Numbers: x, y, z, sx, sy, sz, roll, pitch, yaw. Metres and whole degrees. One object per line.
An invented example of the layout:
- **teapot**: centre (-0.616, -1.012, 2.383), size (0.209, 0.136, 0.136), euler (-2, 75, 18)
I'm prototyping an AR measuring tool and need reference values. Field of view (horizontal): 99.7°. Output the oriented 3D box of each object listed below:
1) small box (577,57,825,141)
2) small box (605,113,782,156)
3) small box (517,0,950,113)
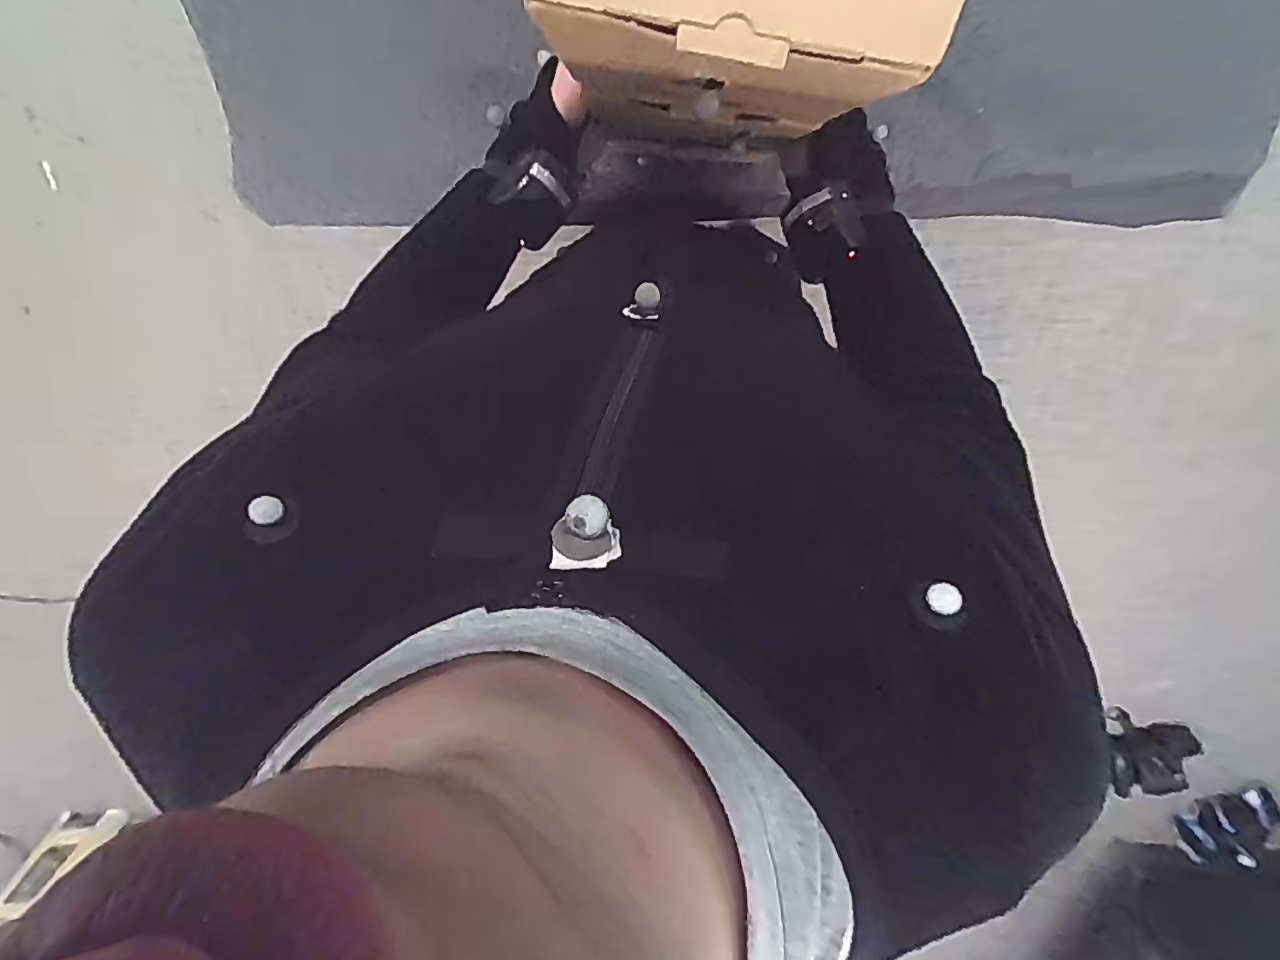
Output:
- **small box**: centre (0.052, -0.355, 0.384), size (0.168, 0.176, 0.179), euler (6, 117, -1)
- **small box**: centre (0.060, -0.426, 0.528), size (0.168, 0.176, 0.179), euler (5, 117, 0)
- **small box**: centre (0.048, -0.281, 0.237), size (0.168, 0.176, 0.179), euler (8, 119, -3)
